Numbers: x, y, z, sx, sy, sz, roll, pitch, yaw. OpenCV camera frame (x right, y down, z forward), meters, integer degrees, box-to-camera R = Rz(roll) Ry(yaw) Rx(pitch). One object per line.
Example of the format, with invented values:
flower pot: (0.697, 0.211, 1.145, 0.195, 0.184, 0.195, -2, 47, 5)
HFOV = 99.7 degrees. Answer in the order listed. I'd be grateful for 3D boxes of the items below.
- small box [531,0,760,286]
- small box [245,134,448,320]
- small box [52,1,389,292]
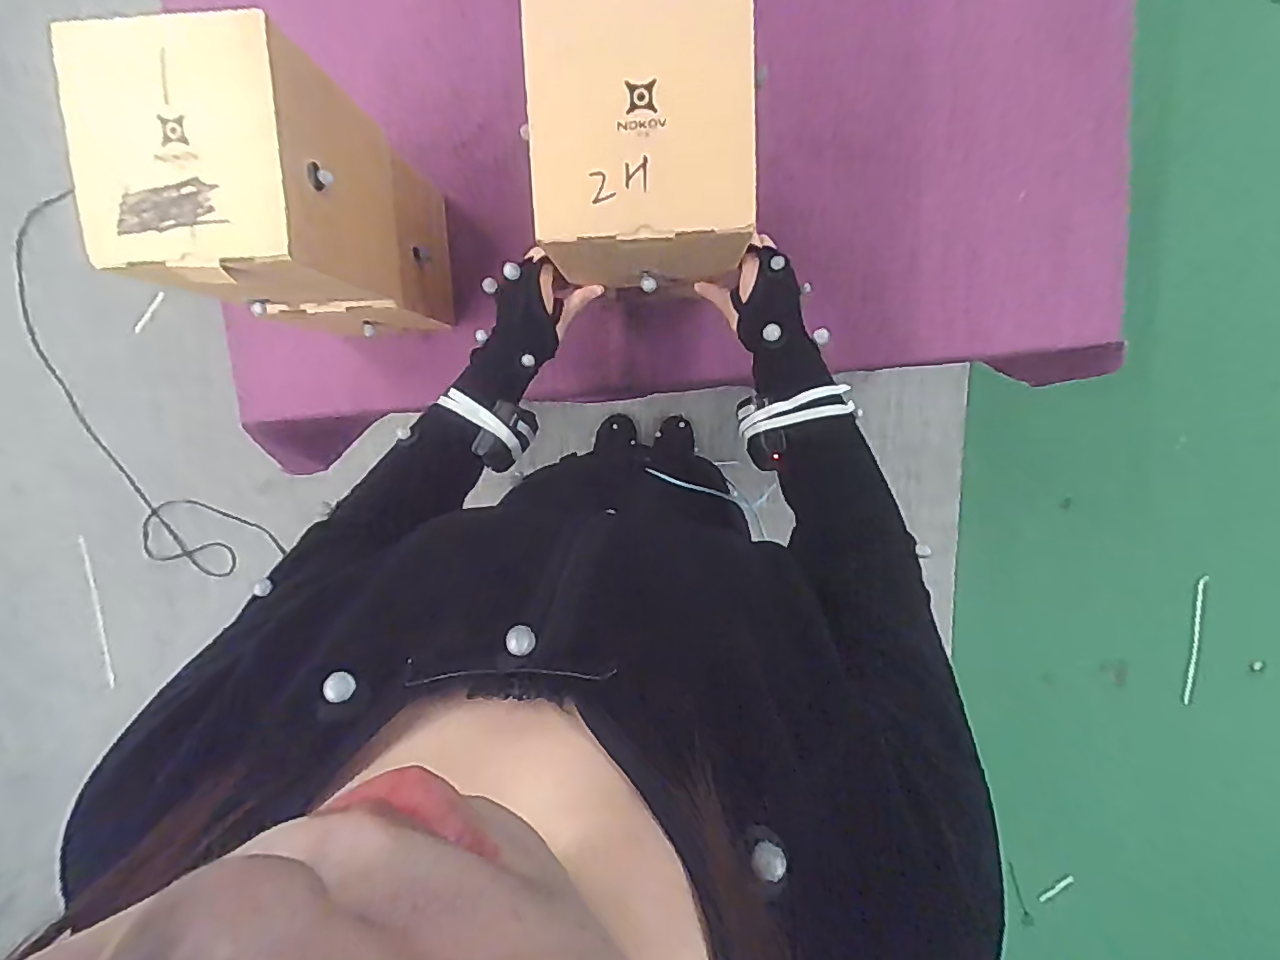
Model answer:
small box: (0.005, -0.277, 0.471, 0.168, 0.176, 0.179, 0, 99, 2)
small box: (-0.342, -0.288, 0.647, 0.168, 0.176, 0.179, -1, 99, 1)
small box: (-0.344, -0.270, 0.483, 0.168, 0.176, 0.179, 0, 98, 2)
